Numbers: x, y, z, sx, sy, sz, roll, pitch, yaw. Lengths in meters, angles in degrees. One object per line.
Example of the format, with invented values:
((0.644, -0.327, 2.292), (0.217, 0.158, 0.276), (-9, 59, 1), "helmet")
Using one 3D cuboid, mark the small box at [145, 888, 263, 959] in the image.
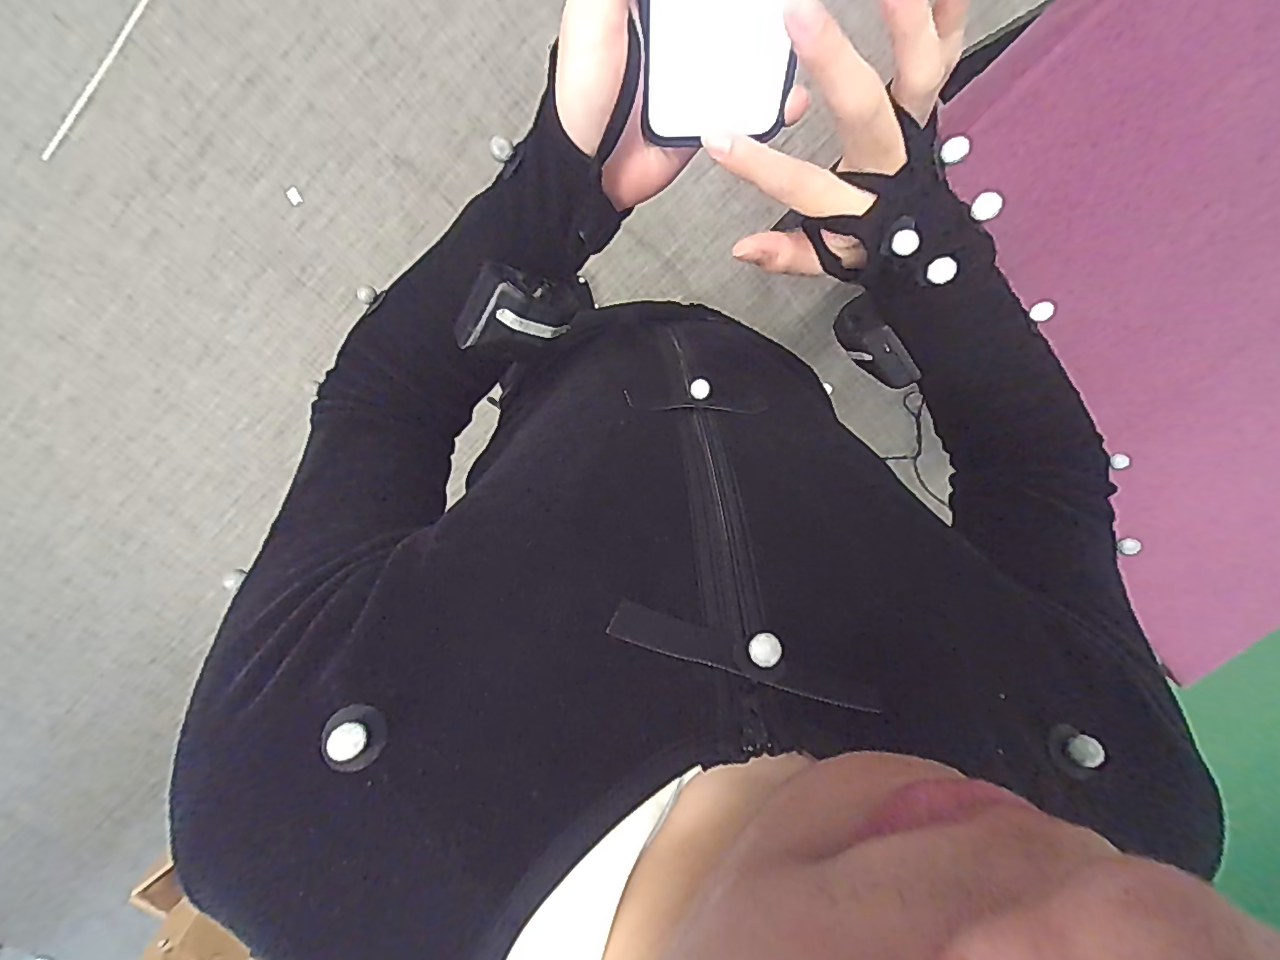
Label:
((-1.053, 1.130, 1.294), (0.179, 0.176, 0.168), (-36, 108, 9), "small box")
